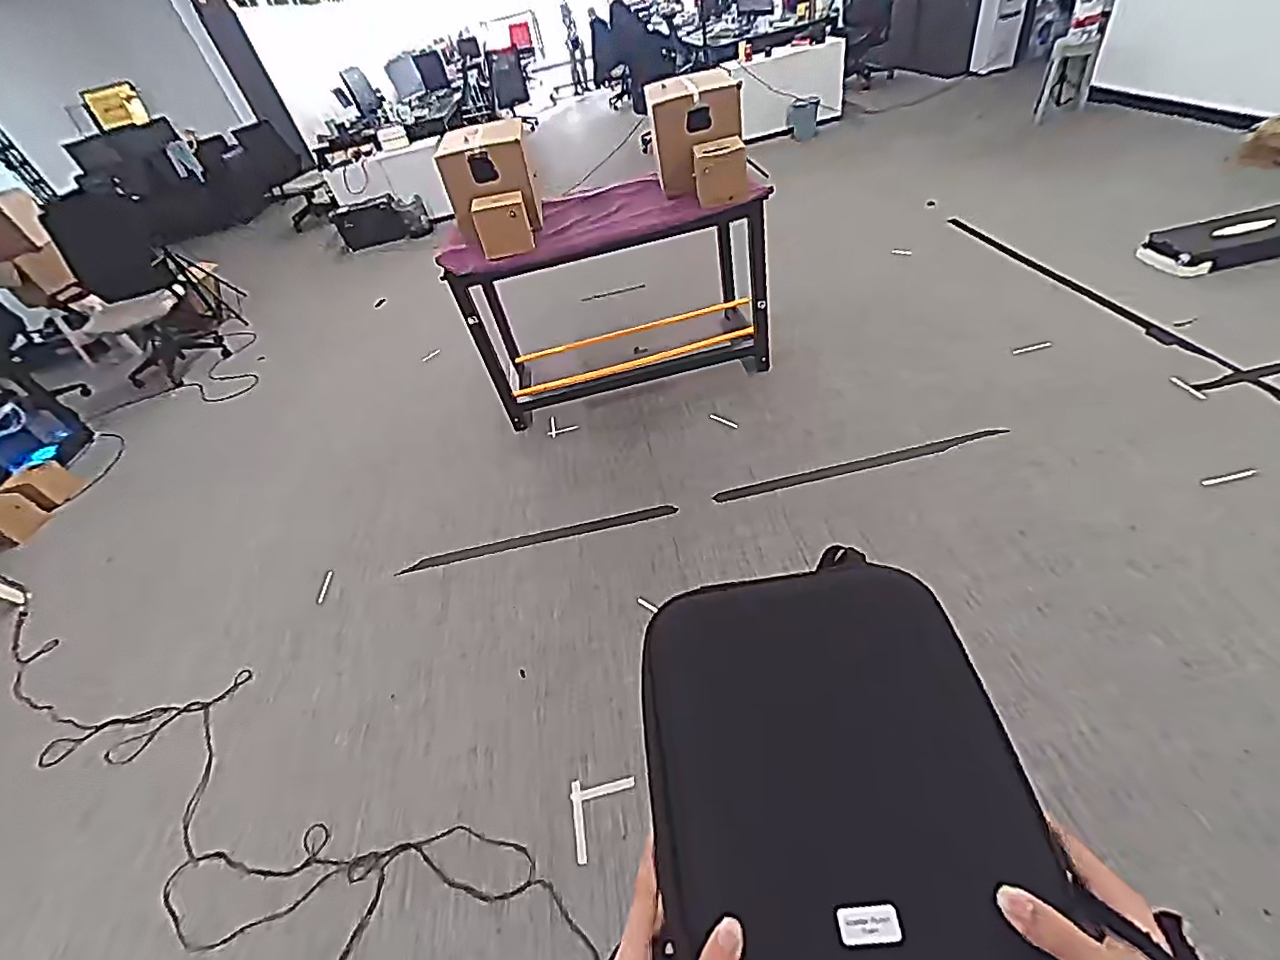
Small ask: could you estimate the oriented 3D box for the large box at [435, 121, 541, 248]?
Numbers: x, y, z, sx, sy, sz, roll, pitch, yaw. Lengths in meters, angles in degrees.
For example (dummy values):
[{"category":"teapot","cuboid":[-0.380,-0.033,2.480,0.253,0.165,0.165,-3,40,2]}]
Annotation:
[{"category":"large box","cuboid":[-0.585,-1.172,2.139,0.320,0.320,0.408,-13,45,0]}]
